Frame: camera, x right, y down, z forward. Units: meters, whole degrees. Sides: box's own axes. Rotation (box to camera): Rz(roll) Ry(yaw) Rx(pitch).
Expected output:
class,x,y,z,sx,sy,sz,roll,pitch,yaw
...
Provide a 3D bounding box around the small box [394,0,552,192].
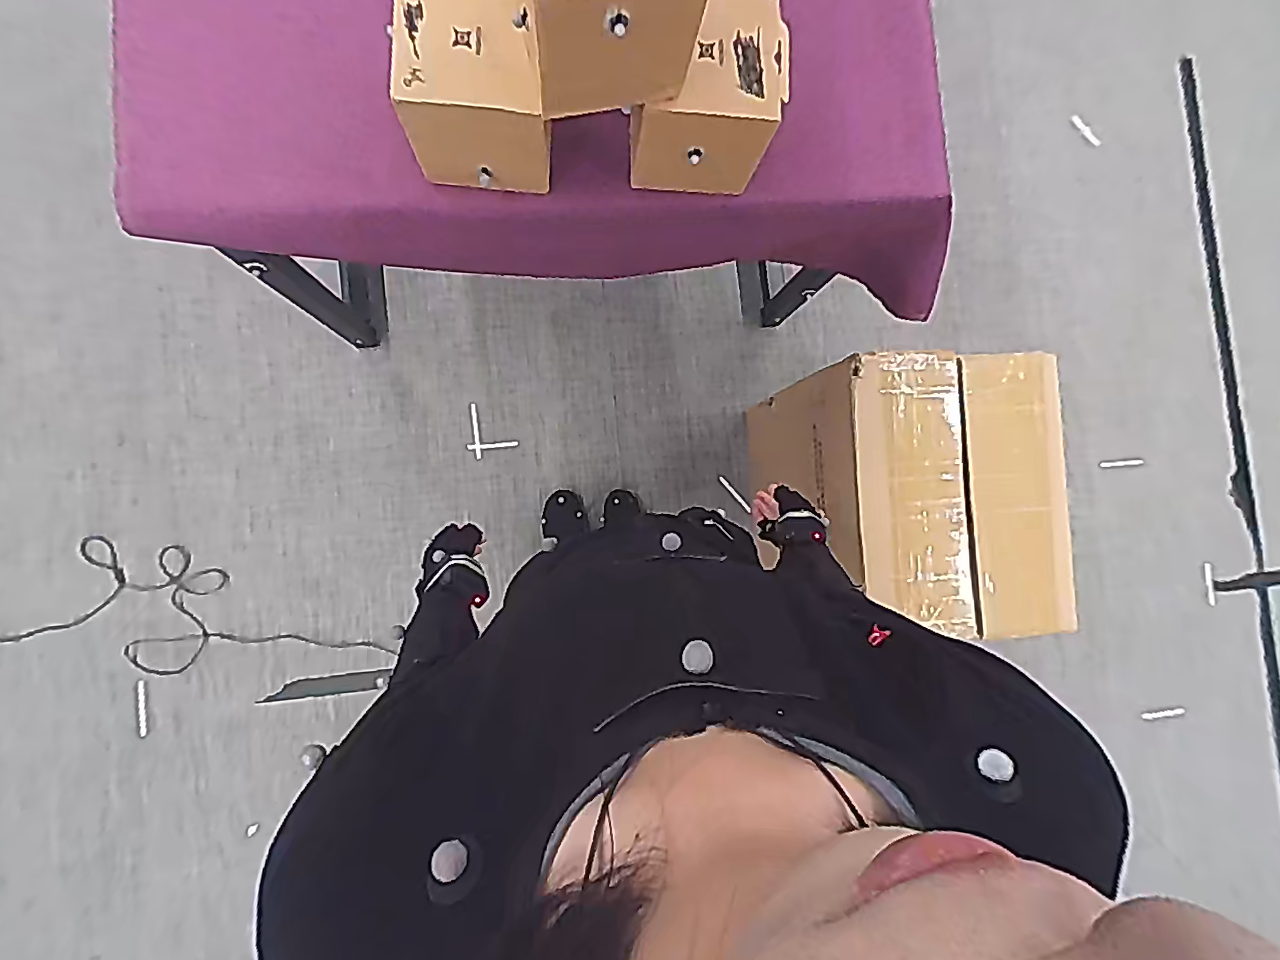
class,x,y,z,sx,sy,sz,roll,pitch,yaw
small box,-0.207,-0.510,0.716,0.179,0.176,0.168,1,86,-8

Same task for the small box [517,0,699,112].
class,x,y,z,sx,sy,sz,roll,pitch,yaw
small box,-0.041,-0.530,0.573,0.179,0.176,0.168,-14,90,-8

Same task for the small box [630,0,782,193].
class,x,y,z,sx,sy,sz,roll,pitch,yaw
small box,0.083,-0.525,0.752,0.179,0.176,0.168,0,86,-6
